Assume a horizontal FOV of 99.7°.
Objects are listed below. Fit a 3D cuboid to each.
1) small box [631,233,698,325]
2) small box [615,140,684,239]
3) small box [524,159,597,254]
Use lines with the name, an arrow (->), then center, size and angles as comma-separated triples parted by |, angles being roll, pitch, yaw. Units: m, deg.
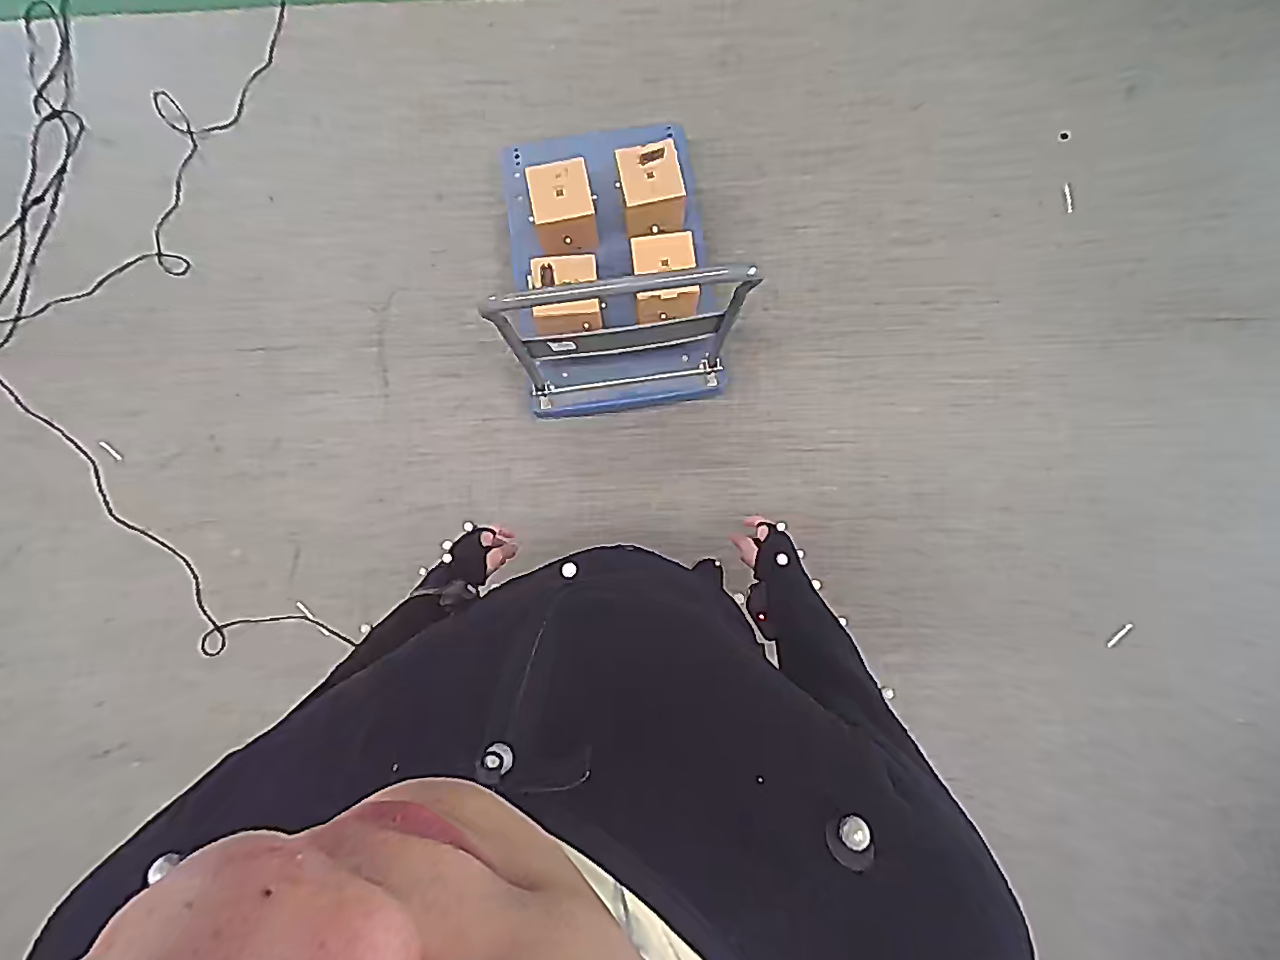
small box -> 0.063, -0.556, 1.509 | 0.168, 0.176, 0.179 | -7, 82, 0
small box -> 0.025, -0.821, 1.545 | 0.168, 0.176, 0.179 | -11, 83, 0
small box -> -0.222, -0.769, 1.542 | 0.168, 0.176, 0.179 | -11, 82, -2
